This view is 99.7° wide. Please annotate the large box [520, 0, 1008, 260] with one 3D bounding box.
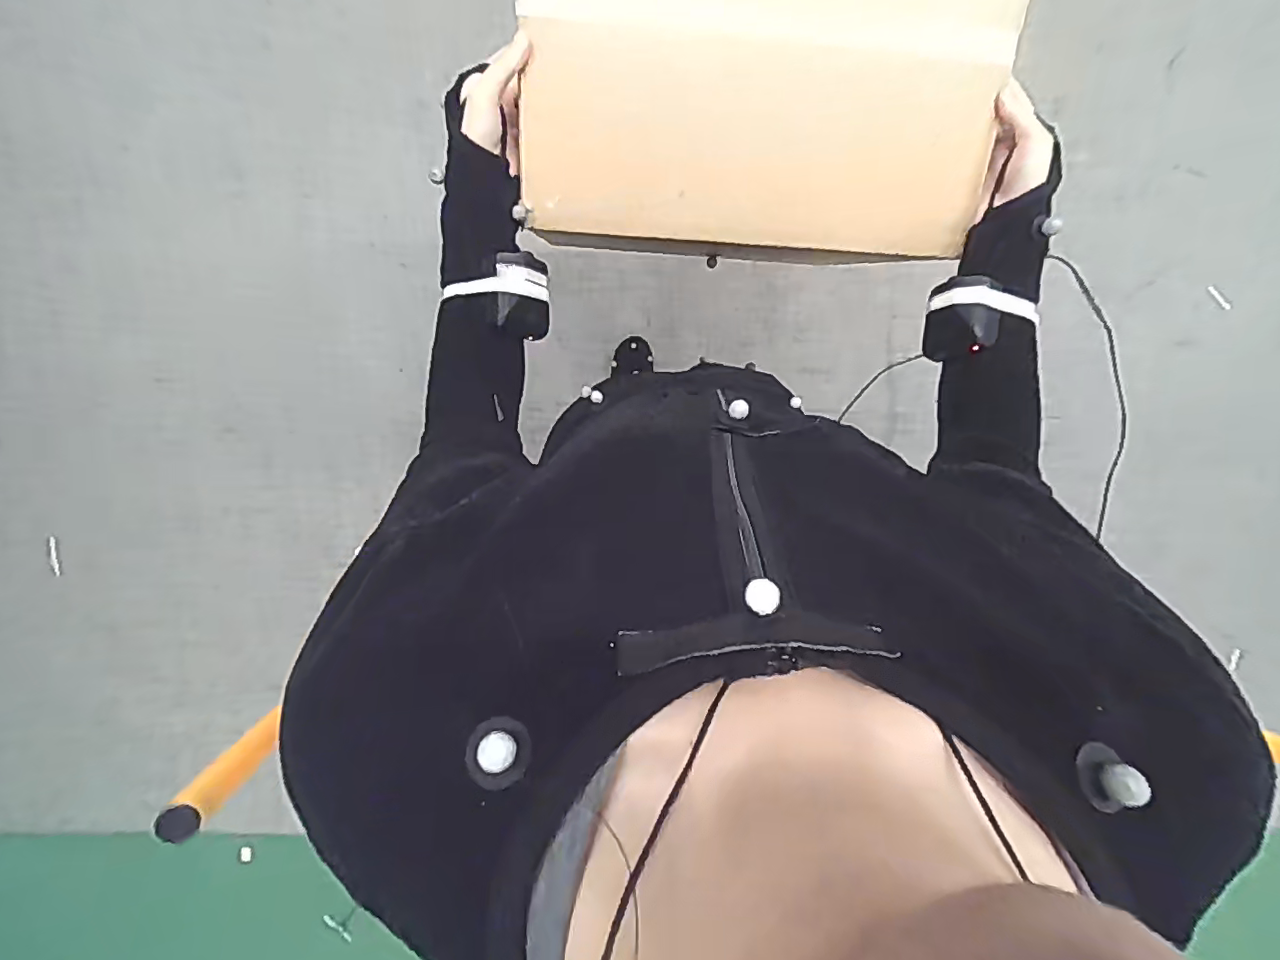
[{"bbox_3d":[0.094,-0.411,0.583,0.408,0.320,0.320,1,109,-5],"label":"large box"}]
